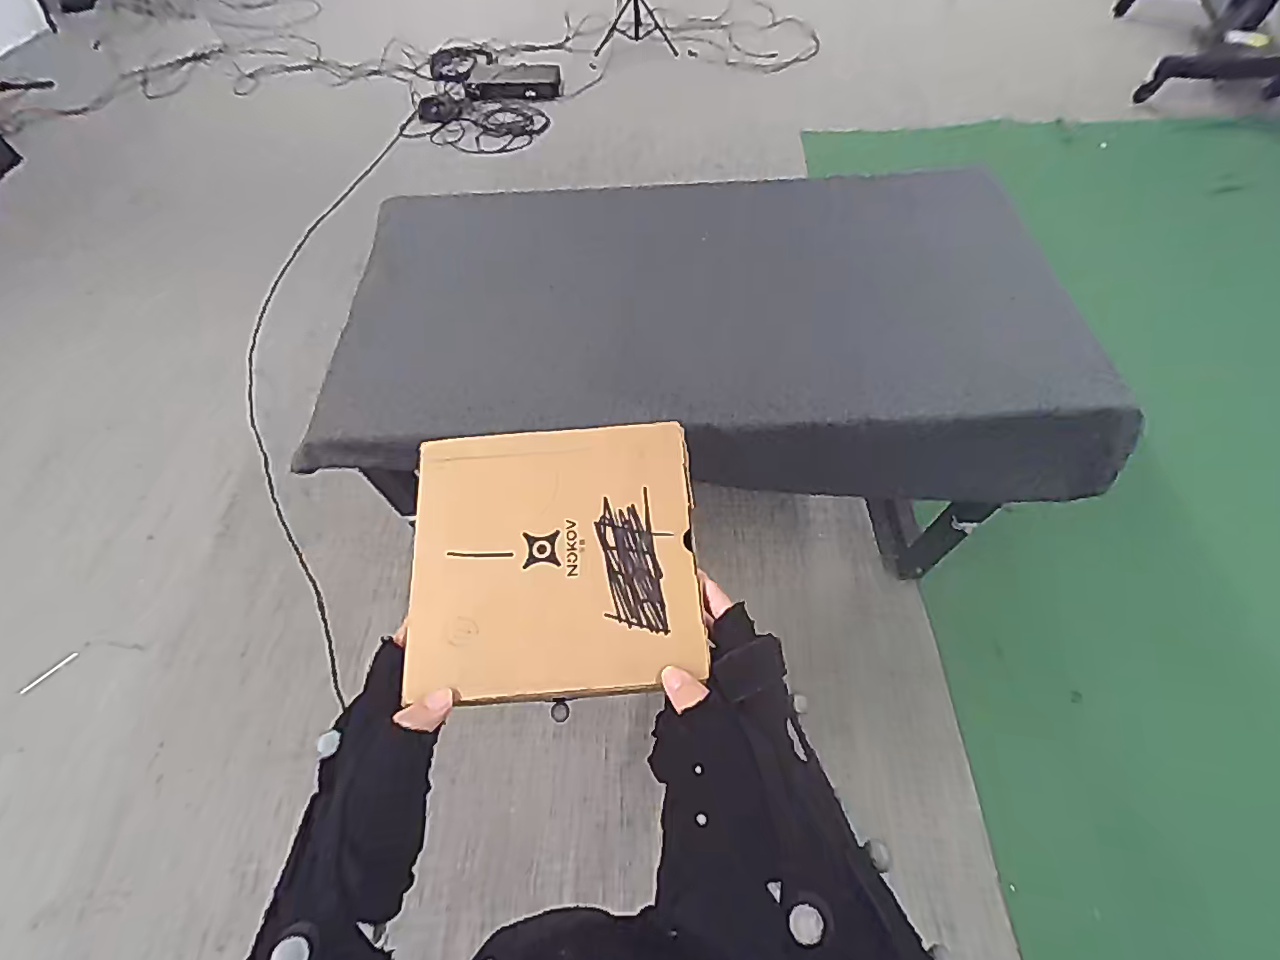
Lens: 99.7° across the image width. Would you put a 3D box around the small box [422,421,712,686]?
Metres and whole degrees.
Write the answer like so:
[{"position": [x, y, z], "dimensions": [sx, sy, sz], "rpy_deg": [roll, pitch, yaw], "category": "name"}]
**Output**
[{"position": [-0.048, 0.068, 0.424], "dimensions": [0.179, 0.176, 0.168], "rpy_deg": [-4, 68, -1], "category": "small box"}]
